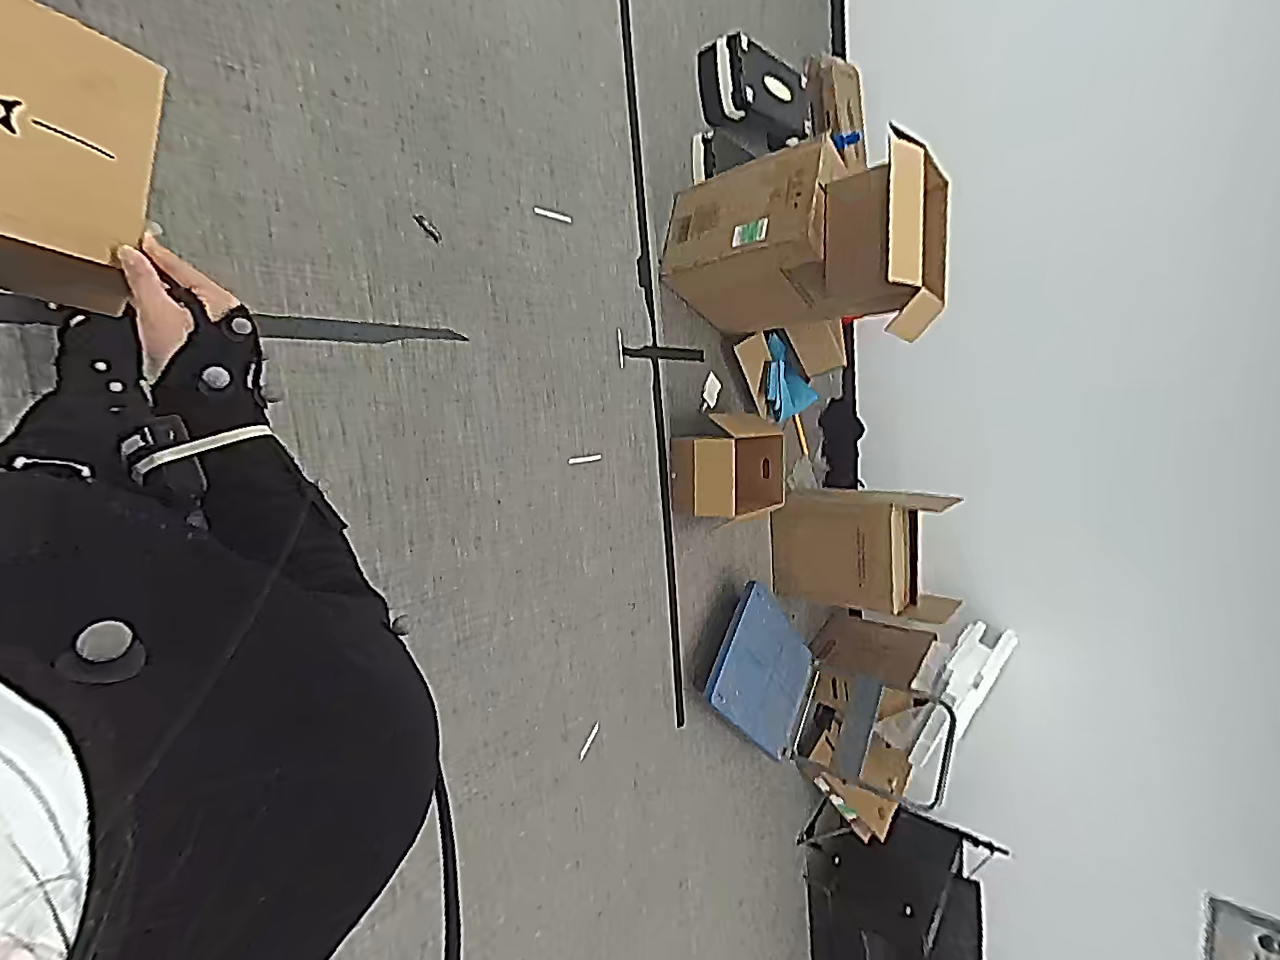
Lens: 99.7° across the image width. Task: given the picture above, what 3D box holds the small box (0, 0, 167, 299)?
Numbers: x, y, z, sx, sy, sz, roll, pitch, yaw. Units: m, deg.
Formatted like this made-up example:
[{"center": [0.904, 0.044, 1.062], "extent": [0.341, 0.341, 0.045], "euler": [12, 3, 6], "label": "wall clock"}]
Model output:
[{"center": [-0.489, -0.251, 0.401], "extent": [0.179, 0.176, 0.168], "euler": [9, 84, -49], "label": "small box"}]
